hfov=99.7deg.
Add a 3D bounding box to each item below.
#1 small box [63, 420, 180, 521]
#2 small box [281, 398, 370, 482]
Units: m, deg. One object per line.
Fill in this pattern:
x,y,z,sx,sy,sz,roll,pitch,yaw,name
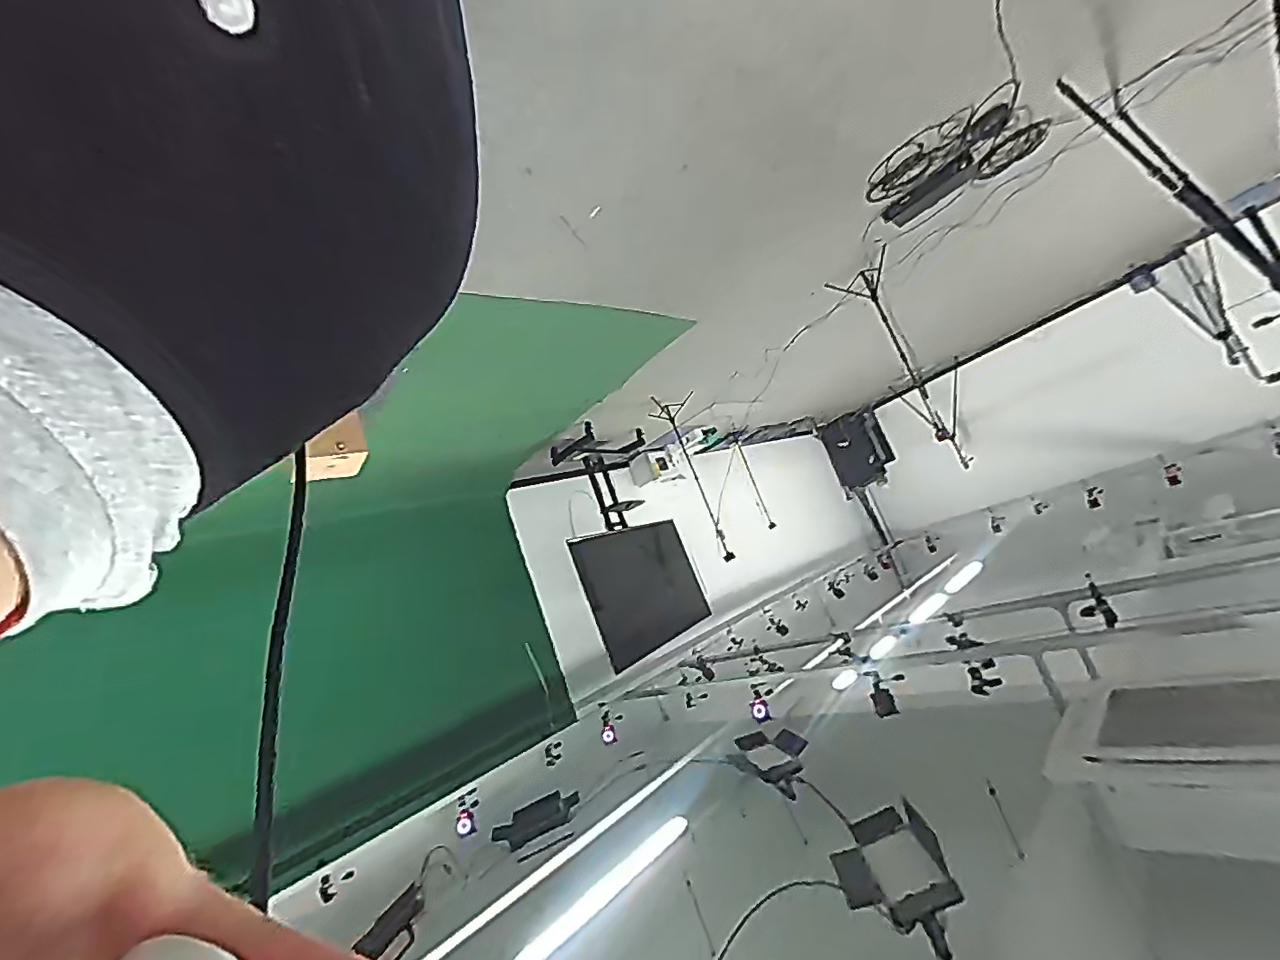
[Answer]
-1.192,-0.024,1.252,0.168,0.176,0.179,-15,168,-41,small box
-0.861,-0.112,1.473,0.168,0.176,0.179,-14,169,-41,small box
